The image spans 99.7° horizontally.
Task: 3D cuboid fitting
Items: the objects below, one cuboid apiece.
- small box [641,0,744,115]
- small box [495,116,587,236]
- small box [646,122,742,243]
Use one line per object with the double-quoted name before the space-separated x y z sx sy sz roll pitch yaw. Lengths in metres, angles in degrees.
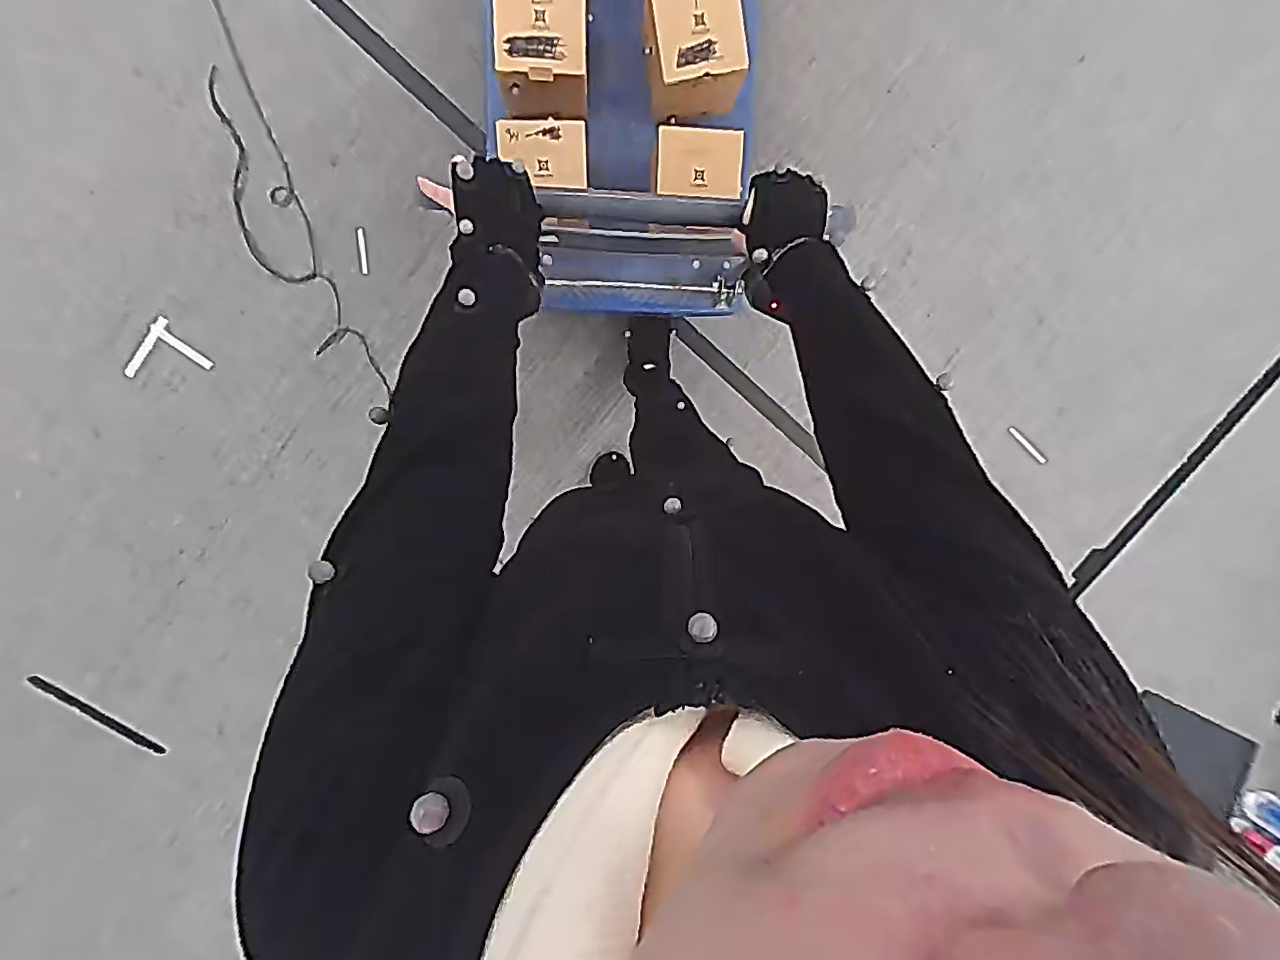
"small box" 0.099 -0.859 1.075 0.168 0.176 0.179 -11 100 -3
"small box" -0.193 -0.604 1.096 0.168 0.176 0.179 -3 101 -5
"small box" 0.104 -0.605 1.122 0.168 0.176 0.179 1 99 -5
